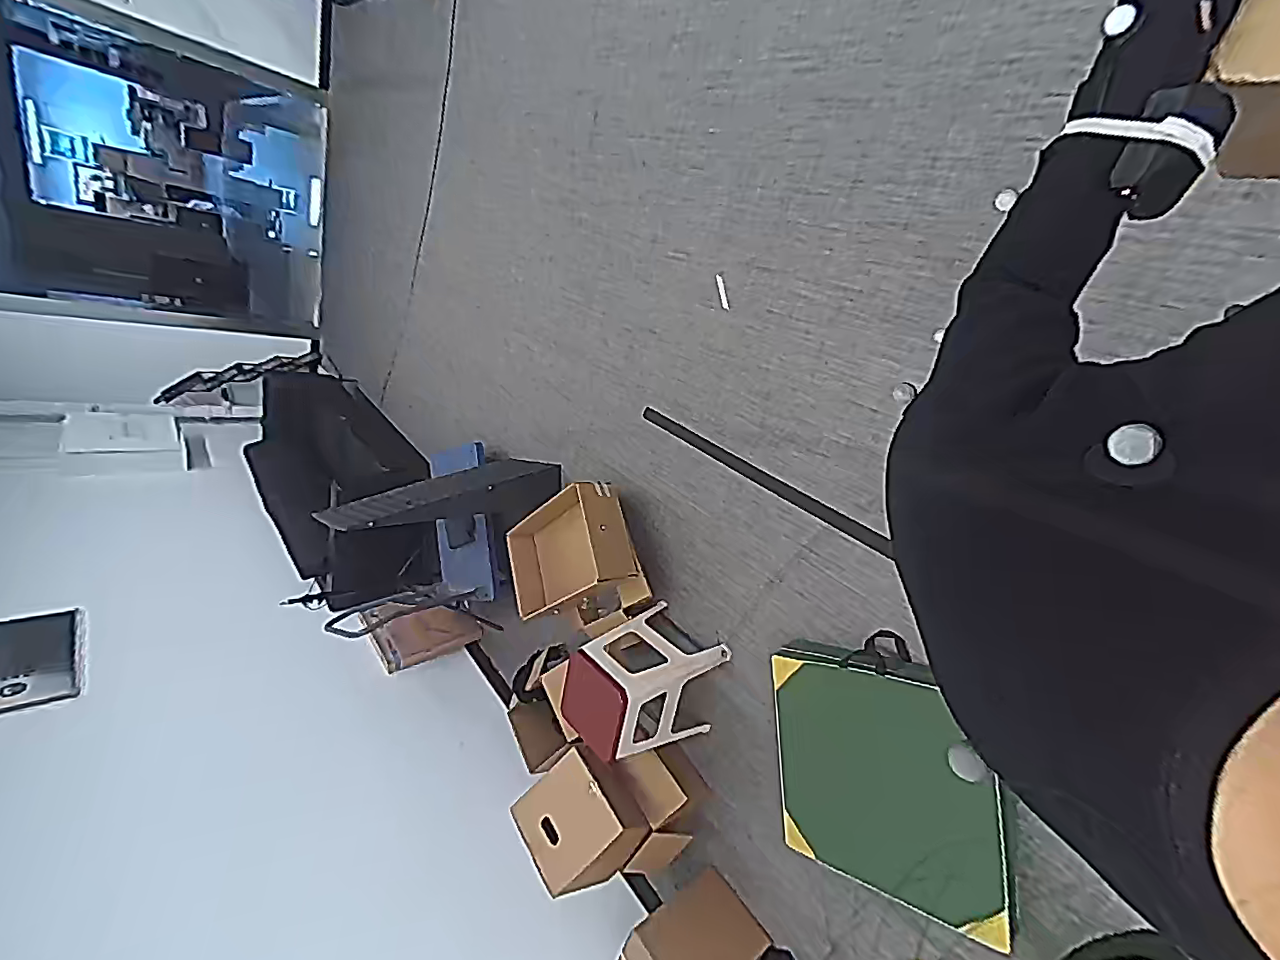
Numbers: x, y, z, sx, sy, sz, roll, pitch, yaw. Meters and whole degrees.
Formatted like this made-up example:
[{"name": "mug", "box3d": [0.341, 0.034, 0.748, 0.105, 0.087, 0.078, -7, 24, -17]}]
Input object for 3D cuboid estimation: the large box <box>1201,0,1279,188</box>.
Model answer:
[{"name": "large box", "box3d": [0.649, -0.361, 0.293, 0.408, 0.320, 0.320, 29, 120, 41]}]
